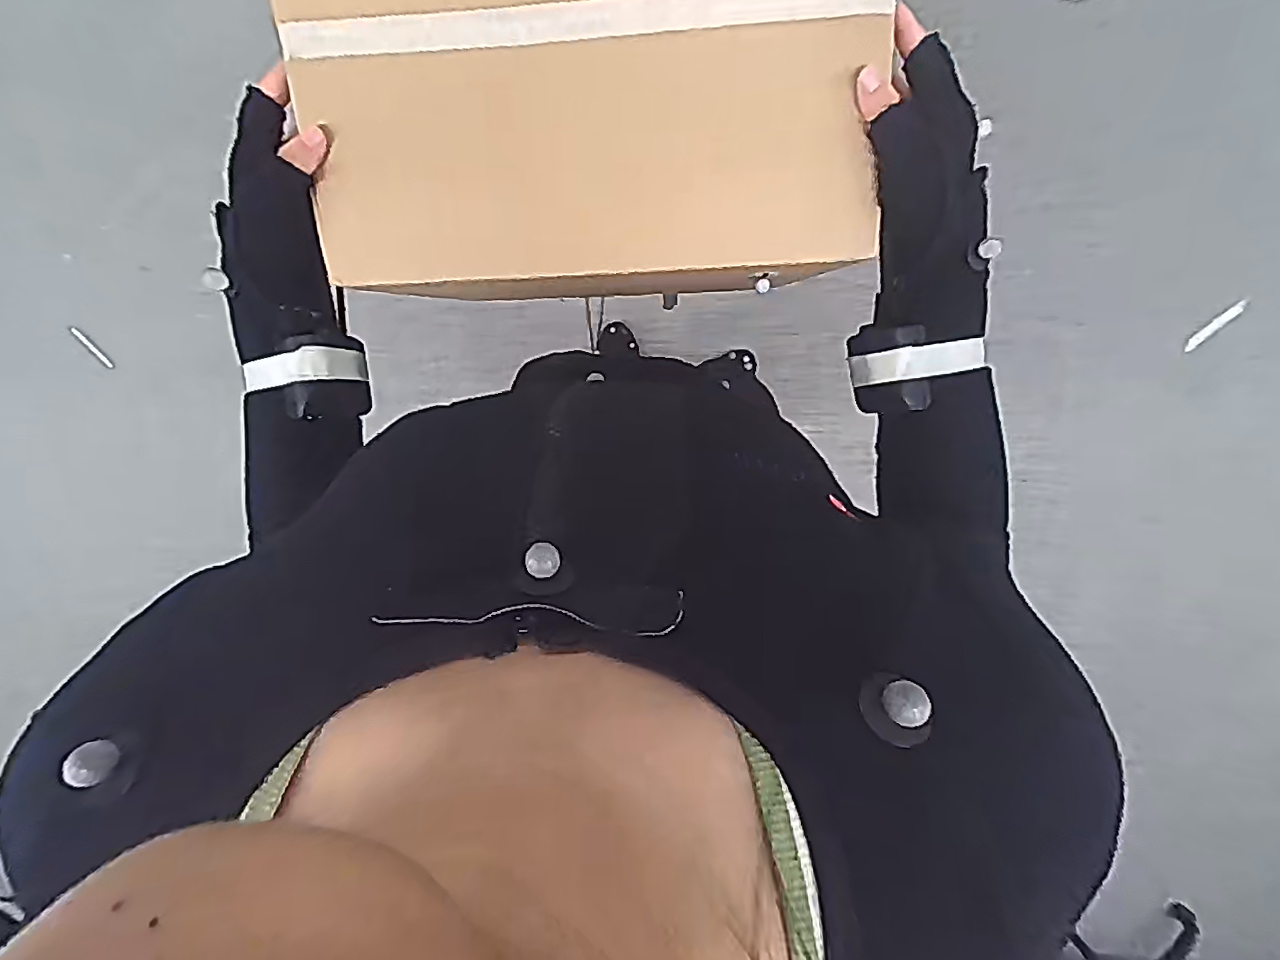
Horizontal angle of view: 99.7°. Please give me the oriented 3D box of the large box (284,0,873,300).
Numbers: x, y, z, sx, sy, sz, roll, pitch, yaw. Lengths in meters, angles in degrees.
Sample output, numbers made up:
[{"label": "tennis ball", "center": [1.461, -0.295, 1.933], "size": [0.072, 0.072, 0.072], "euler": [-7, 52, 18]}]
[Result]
[{"label": "large box", "center": [-0.037, -0.345, 0.510], "size": [0.408, 0.320, 0.320], "euler": [-2, 106, 2]}]
